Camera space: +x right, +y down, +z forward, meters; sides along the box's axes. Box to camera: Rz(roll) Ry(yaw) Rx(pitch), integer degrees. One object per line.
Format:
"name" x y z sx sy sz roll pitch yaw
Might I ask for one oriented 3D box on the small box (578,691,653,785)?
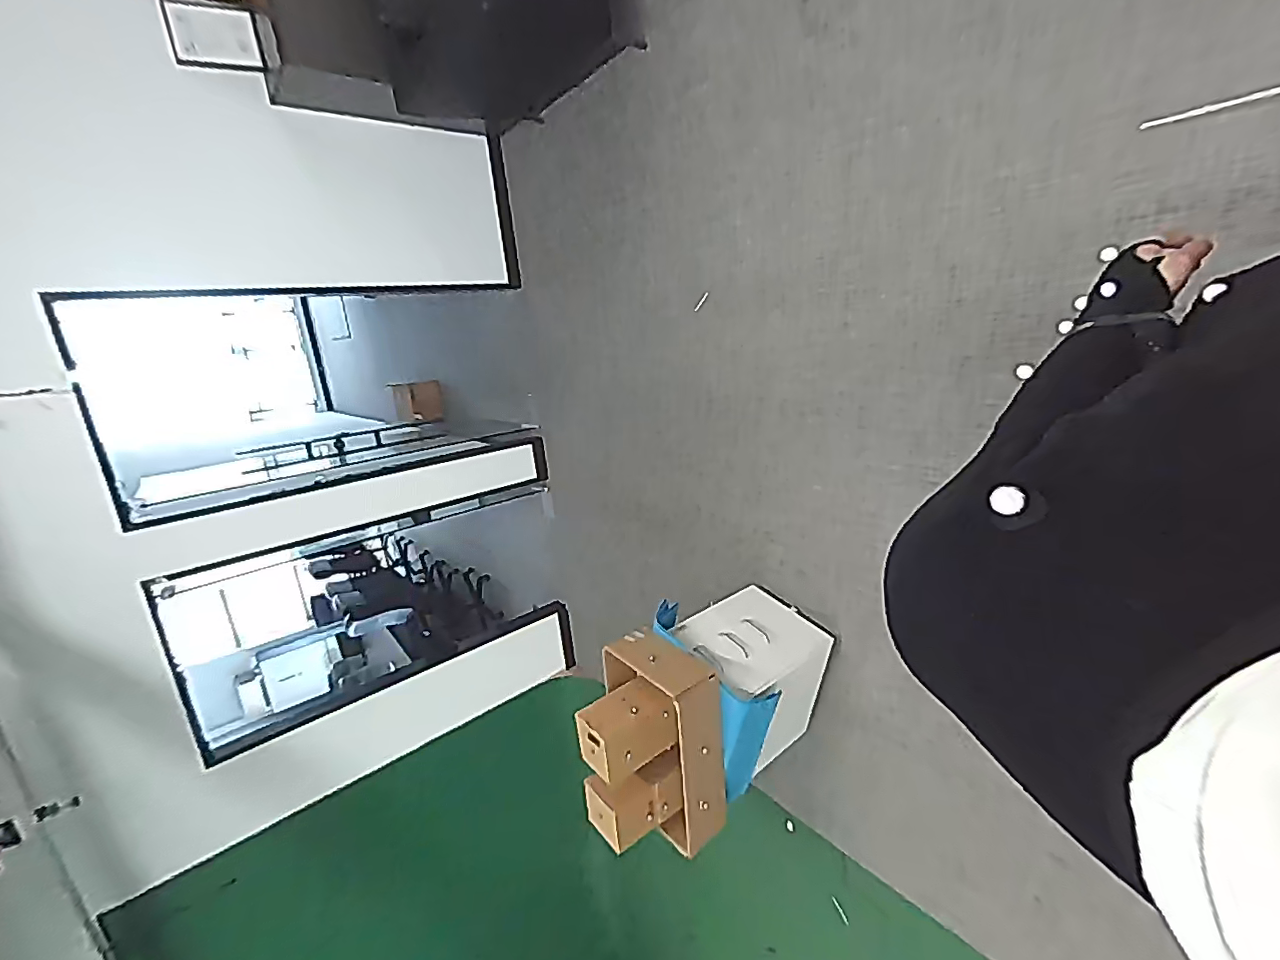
"small box" -0.075 0.800 1.701 0.168 0.176 0.179 15 116 52

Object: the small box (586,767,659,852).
"small box" -0.057 1.053 1.776 0.179 0.176 0.168 15 114 51

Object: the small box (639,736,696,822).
"small box" 0.076 1.019 1.864 0.179 0.176 0.168 16 115 52
